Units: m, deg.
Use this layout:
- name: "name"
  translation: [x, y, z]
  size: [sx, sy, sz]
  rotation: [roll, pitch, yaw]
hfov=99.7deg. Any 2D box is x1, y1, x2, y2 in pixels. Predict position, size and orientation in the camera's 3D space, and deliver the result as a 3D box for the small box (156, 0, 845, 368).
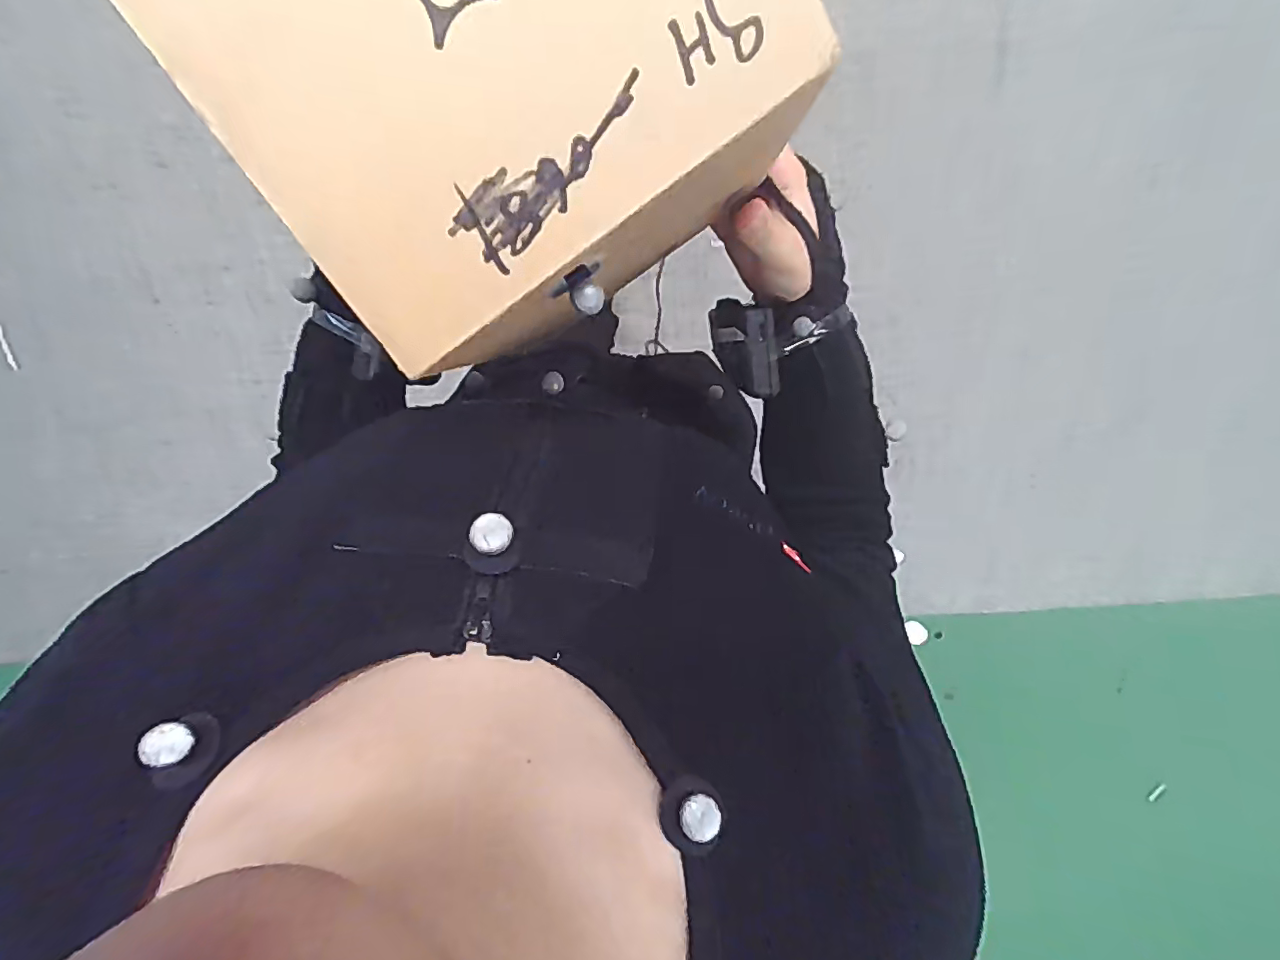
- name: "small box"
  translation: [-0.048, -0.169, 0.237]
  size: [0.168, 0.176, 0.179]
  rotation: [-33, 102, 12]
